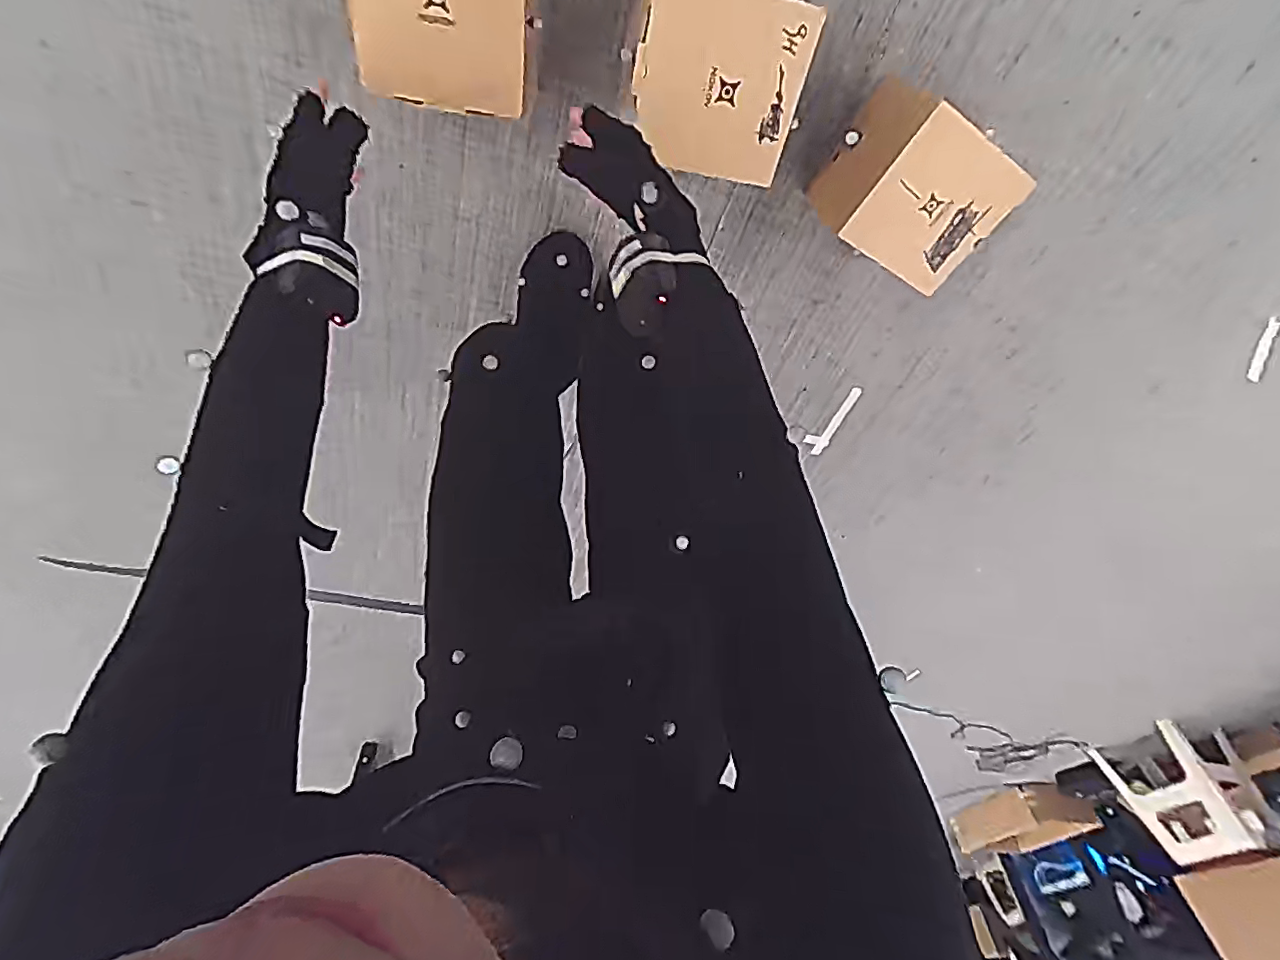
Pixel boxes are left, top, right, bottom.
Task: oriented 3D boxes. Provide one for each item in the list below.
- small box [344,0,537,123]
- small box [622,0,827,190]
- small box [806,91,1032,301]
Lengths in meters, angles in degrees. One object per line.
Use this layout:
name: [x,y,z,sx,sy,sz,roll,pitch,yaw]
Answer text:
small box: [-0.196,-0.505,0.564,0.168,0.176,0.179,5,132,-9]
small box: [0.079,-0.461,0.620,0.179,0.176,0.168,7,133,-9]
small box: [0.354,-0.378,0.718,0.179,0.176,0.168,22,128,-21]
